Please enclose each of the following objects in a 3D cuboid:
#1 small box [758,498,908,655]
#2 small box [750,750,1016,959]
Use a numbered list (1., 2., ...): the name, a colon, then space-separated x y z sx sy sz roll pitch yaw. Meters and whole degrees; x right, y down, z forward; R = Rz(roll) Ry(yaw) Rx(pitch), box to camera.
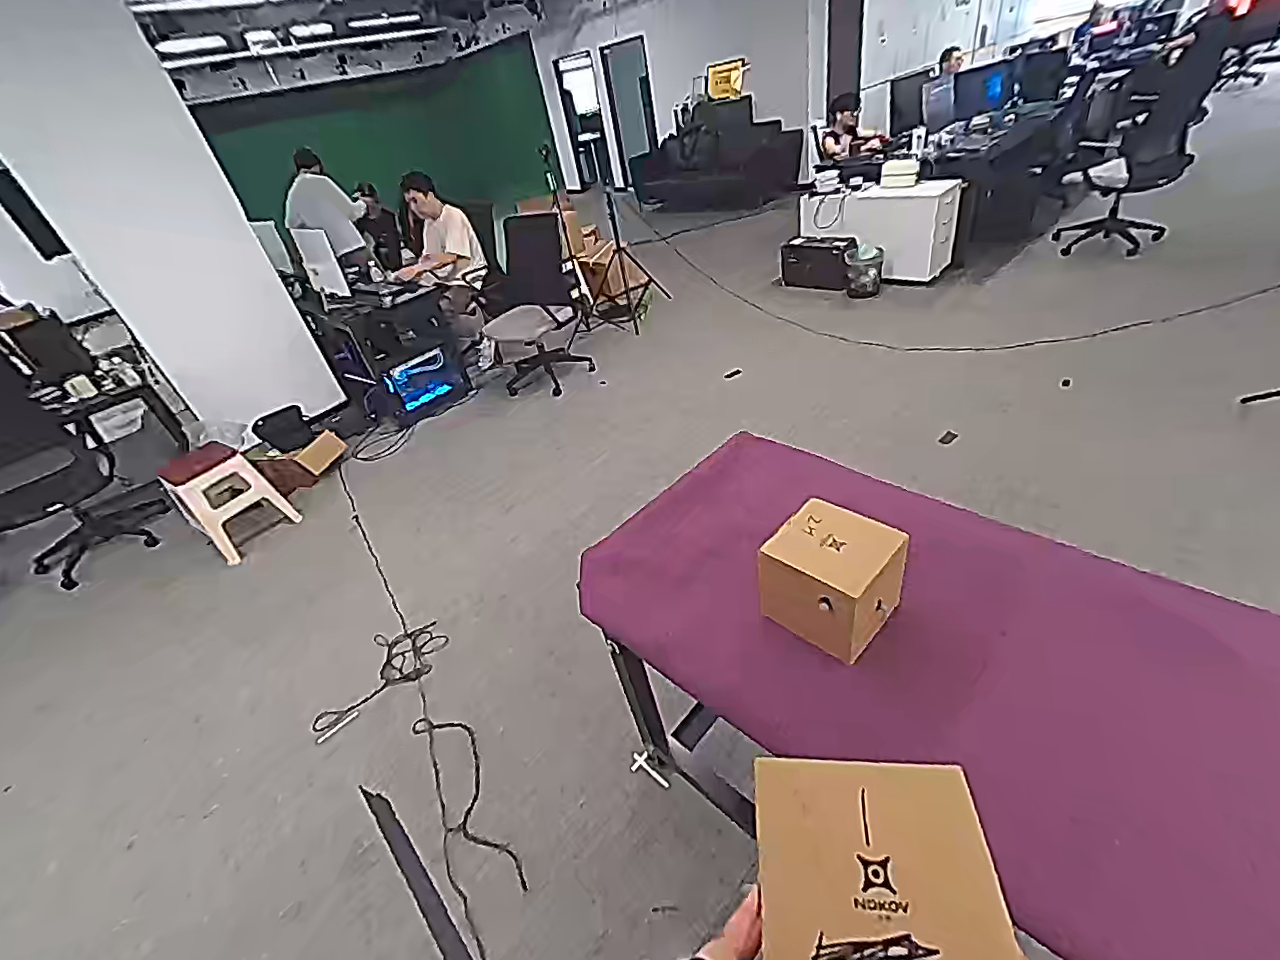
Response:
1. small box: 0.322 0.165 0.914 0.168 0.176 0.179 -36 42 -29
2. small box: 0.177 0.346 0.435 0.168 0.176 0.179 -3 39 11
